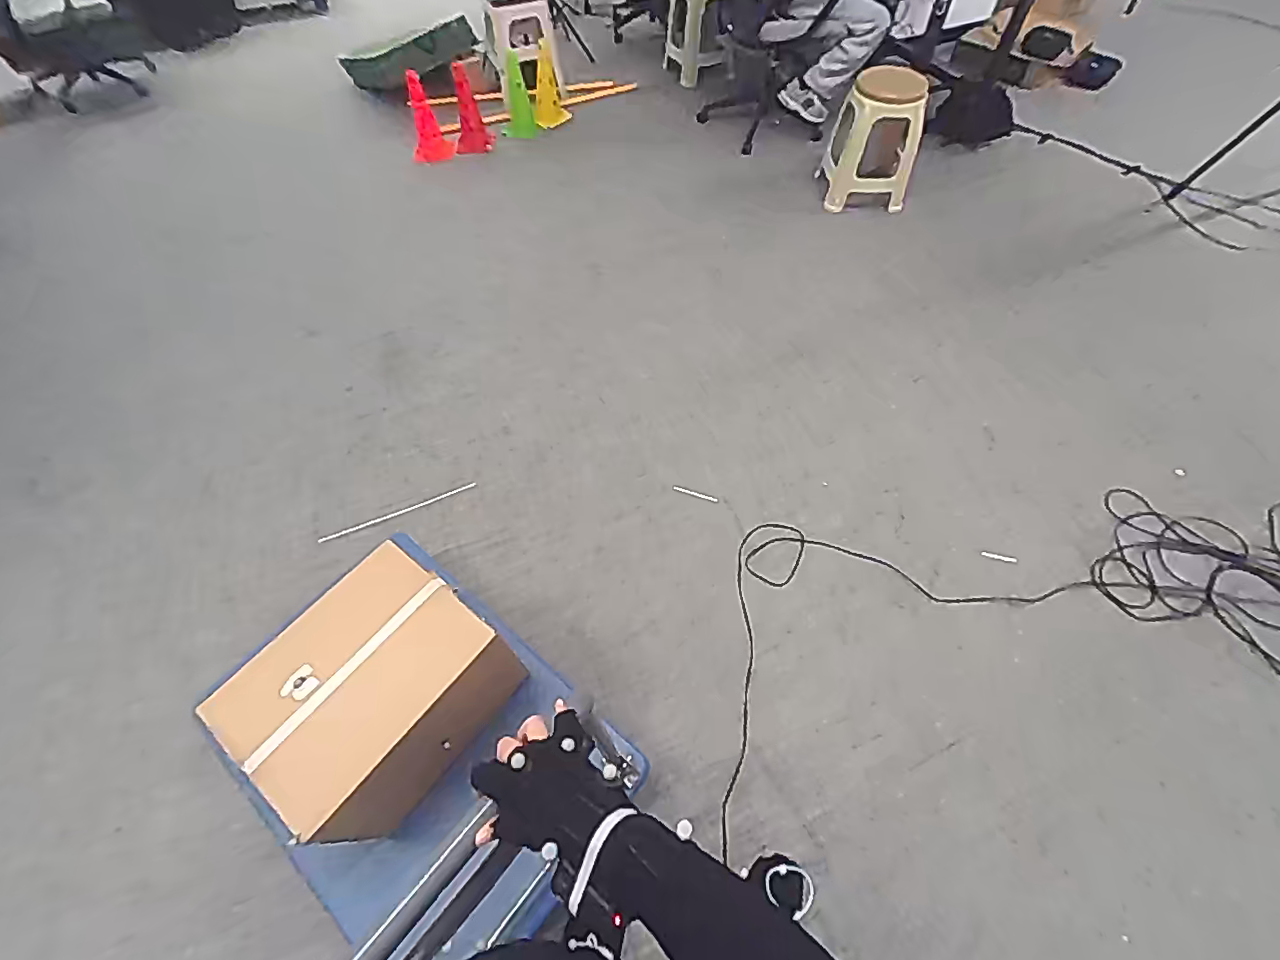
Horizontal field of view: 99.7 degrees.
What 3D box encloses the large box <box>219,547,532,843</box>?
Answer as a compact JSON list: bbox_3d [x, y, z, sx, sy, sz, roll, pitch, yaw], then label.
[{"bbox_3d":[-0.484,0.421,1.083,0.320,0.320,0.408,33,65,21],"label":"large box"}]
